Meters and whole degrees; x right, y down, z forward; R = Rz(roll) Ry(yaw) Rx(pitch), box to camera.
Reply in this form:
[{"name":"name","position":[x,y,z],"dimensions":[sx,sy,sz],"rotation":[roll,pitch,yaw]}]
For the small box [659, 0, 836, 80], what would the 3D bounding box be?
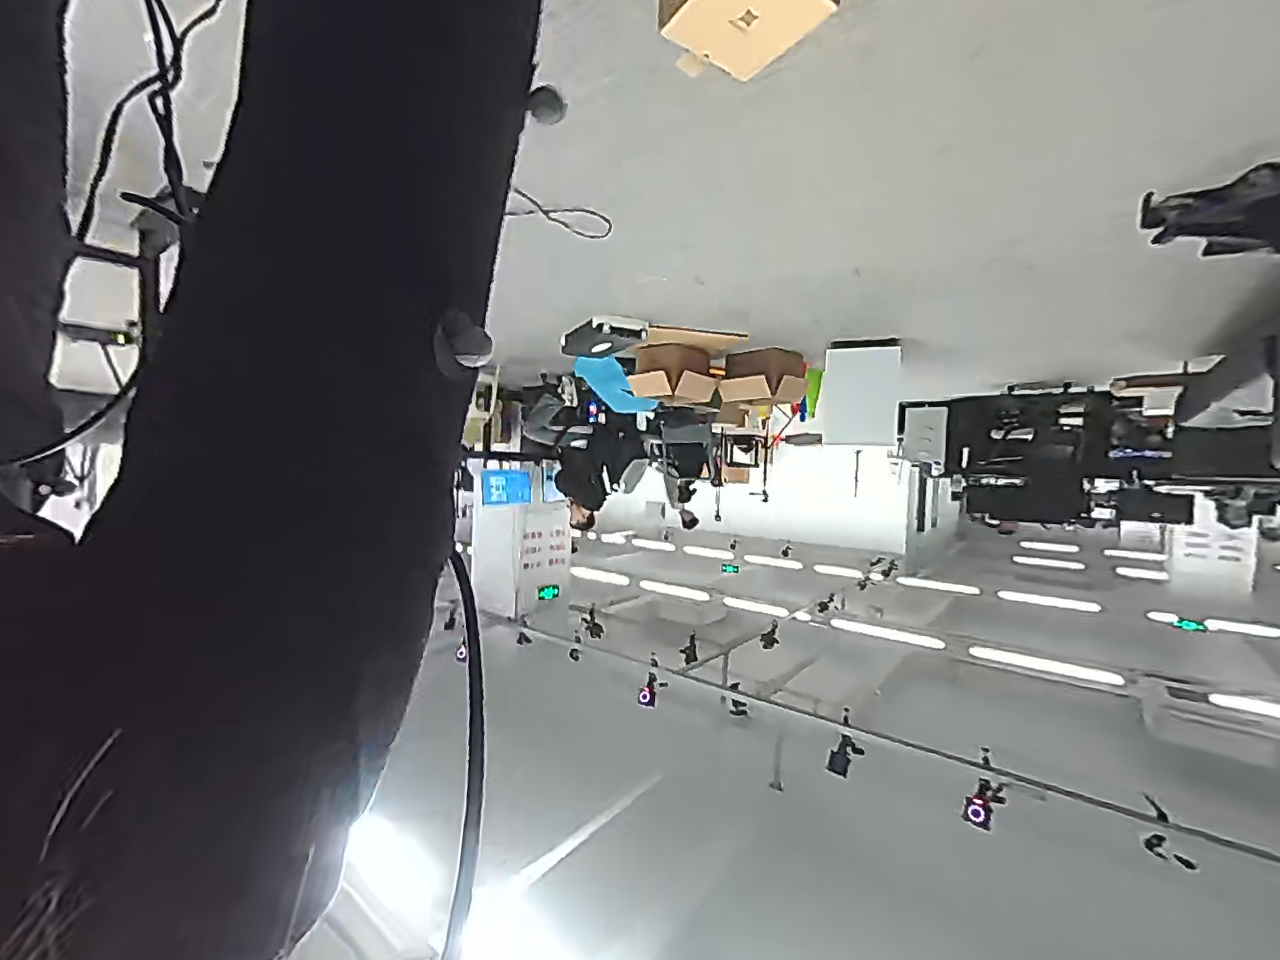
[{"name":"small box","position":[0.138,-0.691,0.713],"dimensions":[0.168,0.176,0.179],"rotation":[0,-177,-33]}]
